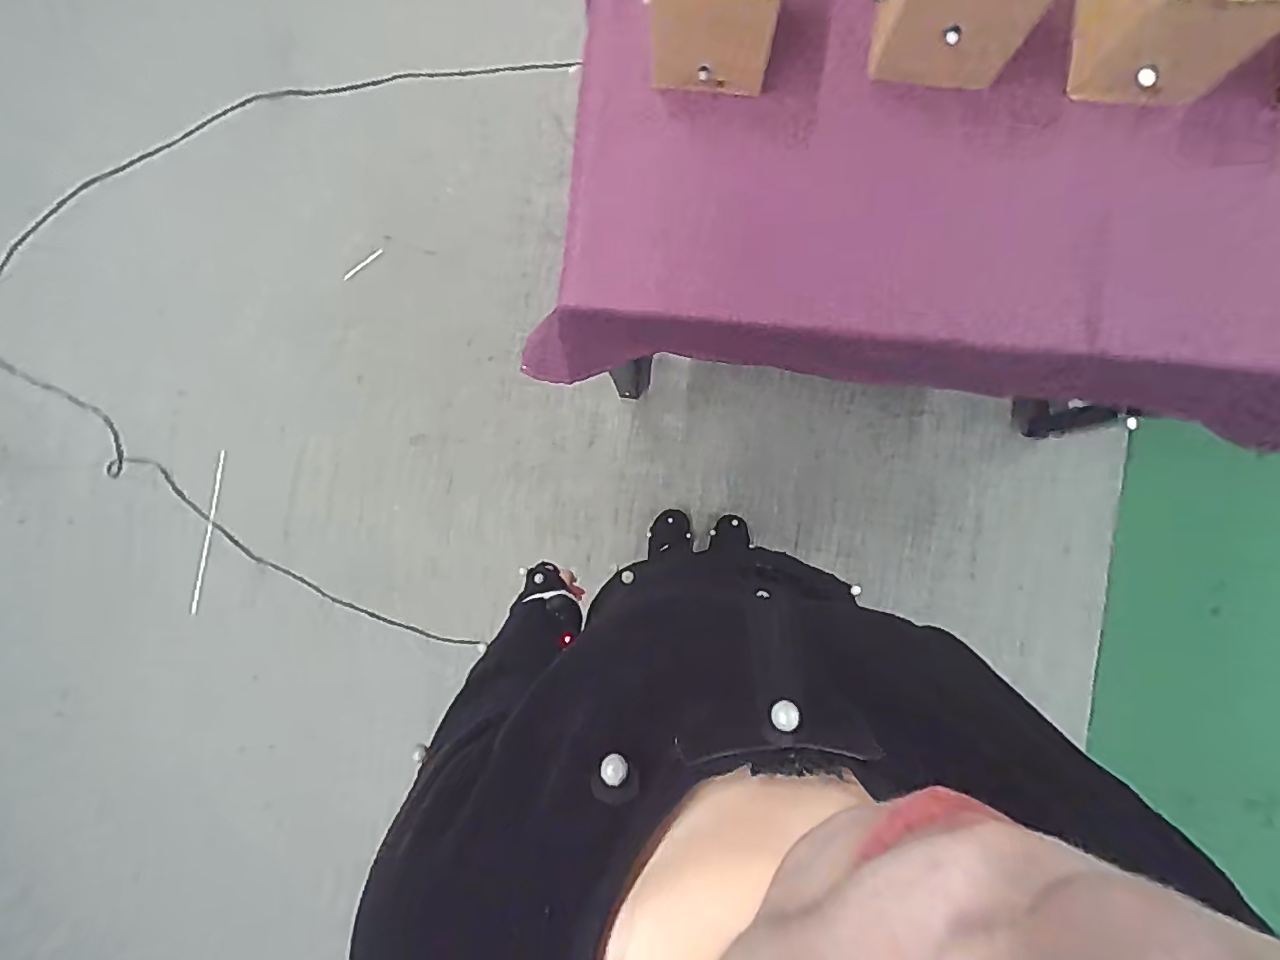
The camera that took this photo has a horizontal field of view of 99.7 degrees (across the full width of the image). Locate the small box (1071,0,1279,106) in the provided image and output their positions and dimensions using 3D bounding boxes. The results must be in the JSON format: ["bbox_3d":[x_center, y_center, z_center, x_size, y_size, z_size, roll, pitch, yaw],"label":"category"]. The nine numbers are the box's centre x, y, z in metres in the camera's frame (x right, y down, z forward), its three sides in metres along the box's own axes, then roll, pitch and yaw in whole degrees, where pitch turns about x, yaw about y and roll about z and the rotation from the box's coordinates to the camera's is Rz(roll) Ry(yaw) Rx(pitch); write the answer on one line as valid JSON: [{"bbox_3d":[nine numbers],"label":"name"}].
[{"bbox_3d":[0.713,-0.640,0.710,0.168,0.176,0.179,7,89,4],"label":"small box"}]

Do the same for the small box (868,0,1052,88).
[{"bbox_3d":[0.434,-0.671,0.728,0.179,0.176,0.168,9,88,5],"label":"small box"}]
